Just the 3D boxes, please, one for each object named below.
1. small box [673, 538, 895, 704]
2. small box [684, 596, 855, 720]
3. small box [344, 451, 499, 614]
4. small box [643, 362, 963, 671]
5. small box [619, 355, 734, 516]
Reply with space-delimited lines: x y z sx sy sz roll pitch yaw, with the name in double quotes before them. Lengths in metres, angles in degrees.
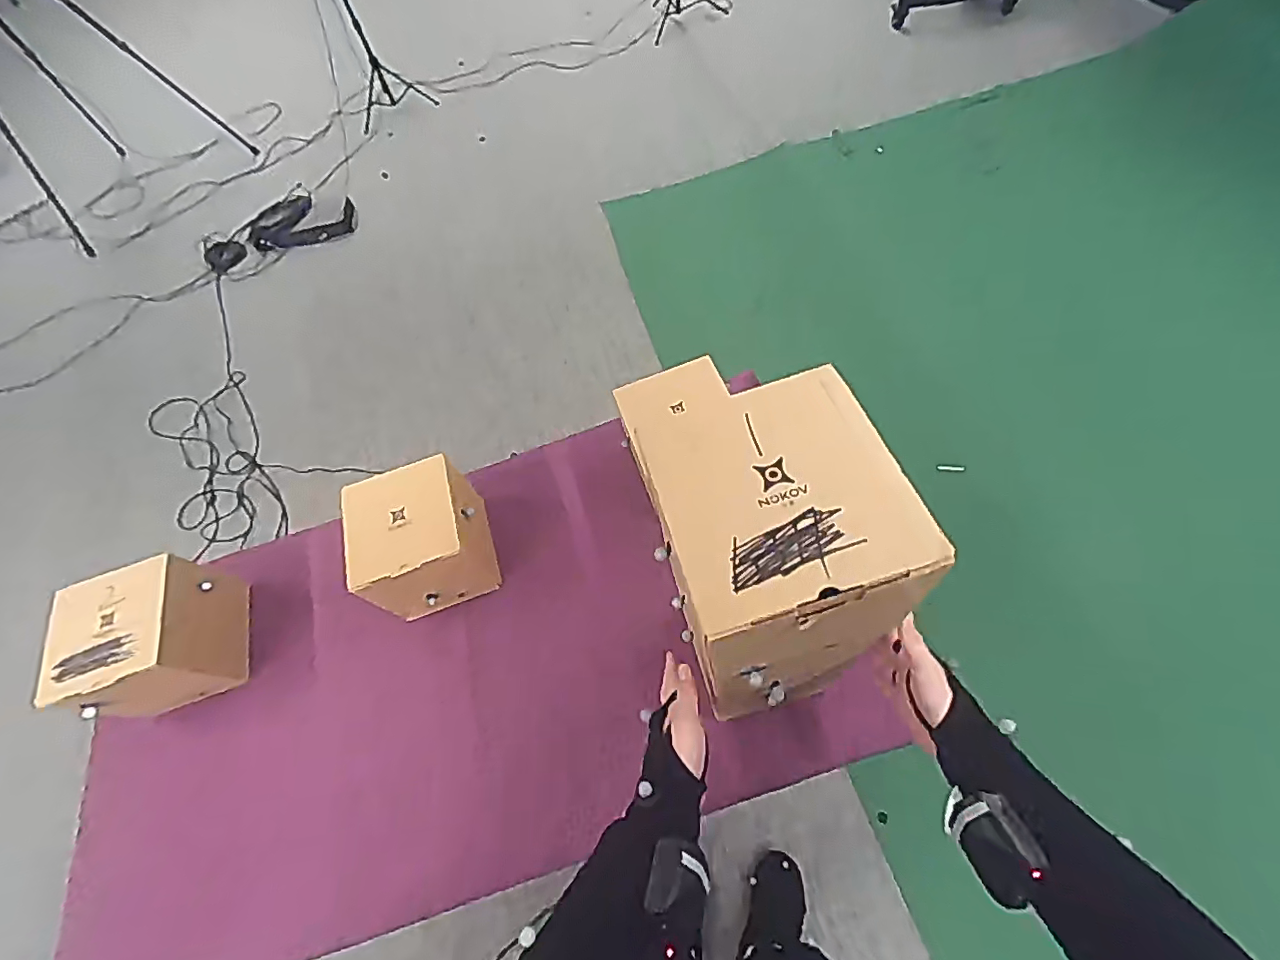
"small box" 0.135 0.121 0.581 0.168 0.176 0.179 -17 60 0
"small box" 0.157 0.203 0.722 0.168 0.176 0.179 -16 60 0
"small box" -0.338 0.087 0.851 0.168 0.176 0.179 -19 62 -4
"small box" 0.113 0.042 0.438 0.168 0.176 0.179 -17 58 0
"small box" 0.077 -0.064 0.875 0.168 0.176 0.179 -20 62 -1
